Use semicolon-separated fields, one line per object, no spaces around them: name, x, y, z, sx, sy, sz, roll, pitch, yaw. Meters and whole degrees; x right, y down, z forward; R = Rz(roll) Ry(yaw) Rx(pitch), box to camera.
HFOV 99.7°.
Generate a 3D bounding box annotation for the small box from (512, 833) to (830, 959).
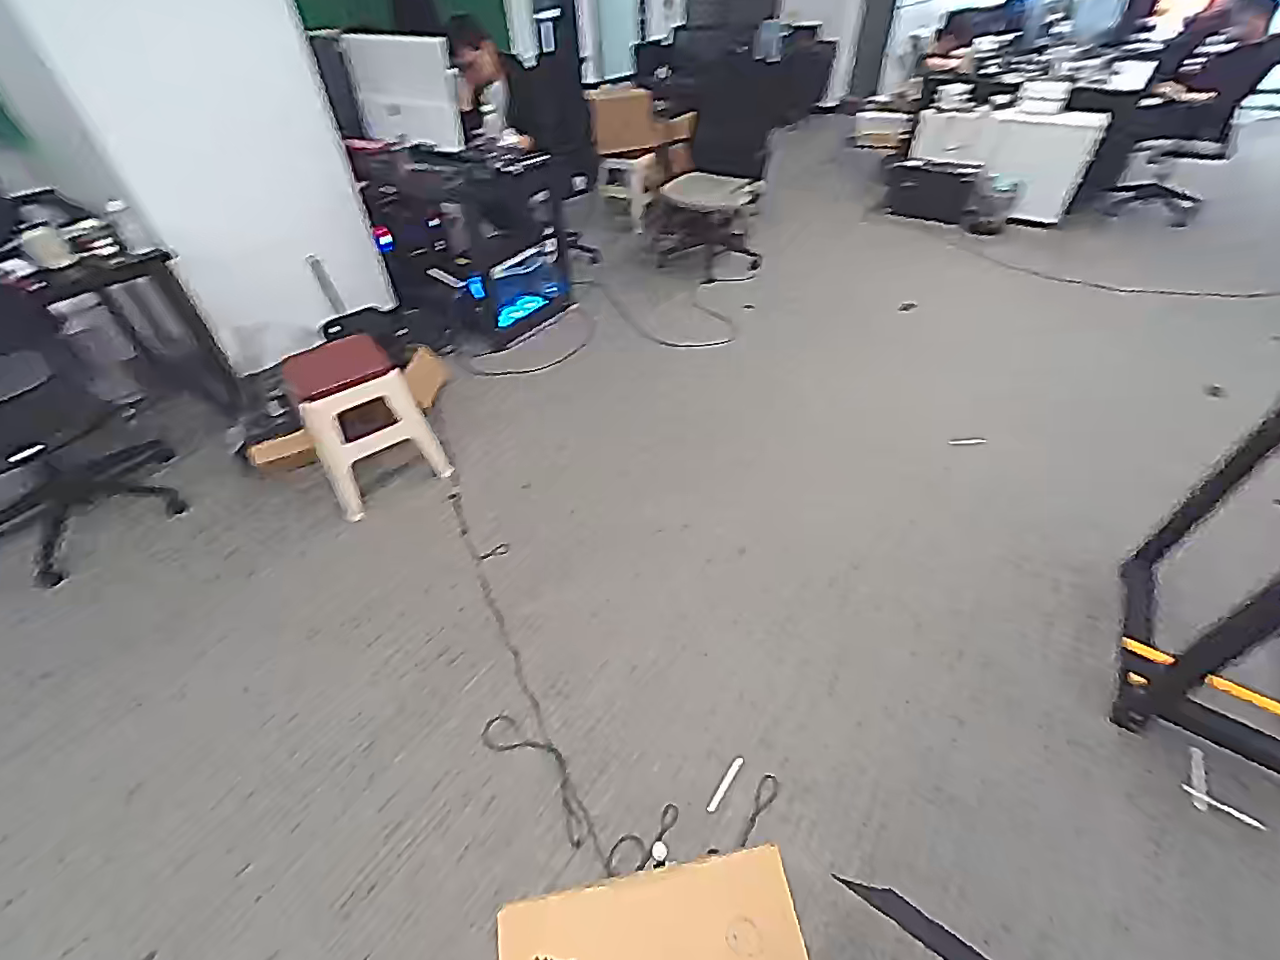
small box;0.033;0.337;0.339;0.179;0.176;0.168;-13;55;1
